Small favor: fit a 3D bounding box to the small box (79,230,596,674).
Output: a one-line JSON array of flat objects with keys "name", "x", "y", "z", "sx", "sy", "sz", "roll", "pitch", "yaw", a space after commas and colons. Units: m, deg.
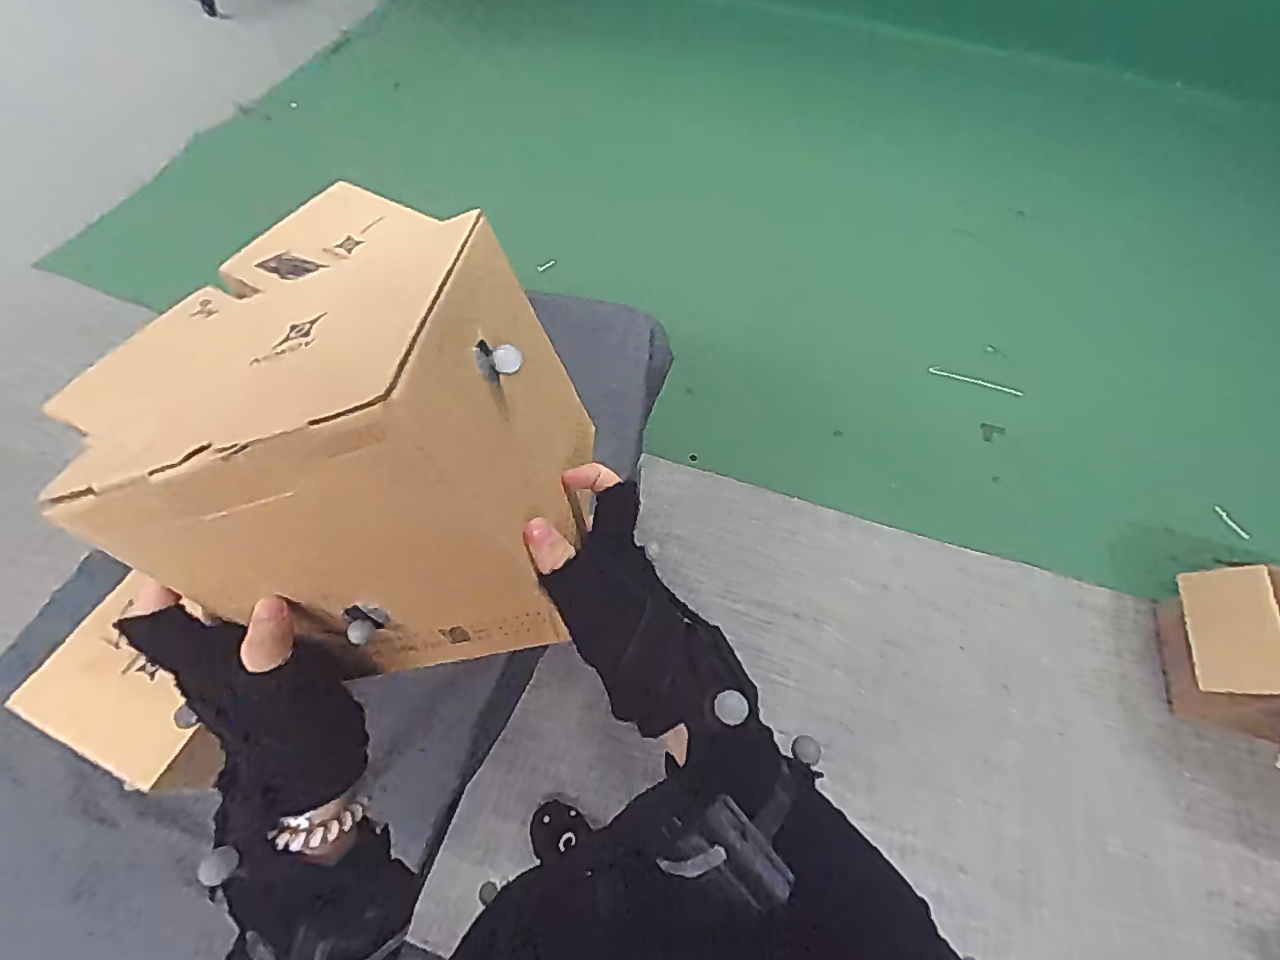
[{"name": "small box", "x": -0.131, "y": -0.011, "z": 0.319, "sx": 0.168, "sy": 0.176, "sz": 0.179, "roll": -13, "pitch": 46, "yaw": 12}]
